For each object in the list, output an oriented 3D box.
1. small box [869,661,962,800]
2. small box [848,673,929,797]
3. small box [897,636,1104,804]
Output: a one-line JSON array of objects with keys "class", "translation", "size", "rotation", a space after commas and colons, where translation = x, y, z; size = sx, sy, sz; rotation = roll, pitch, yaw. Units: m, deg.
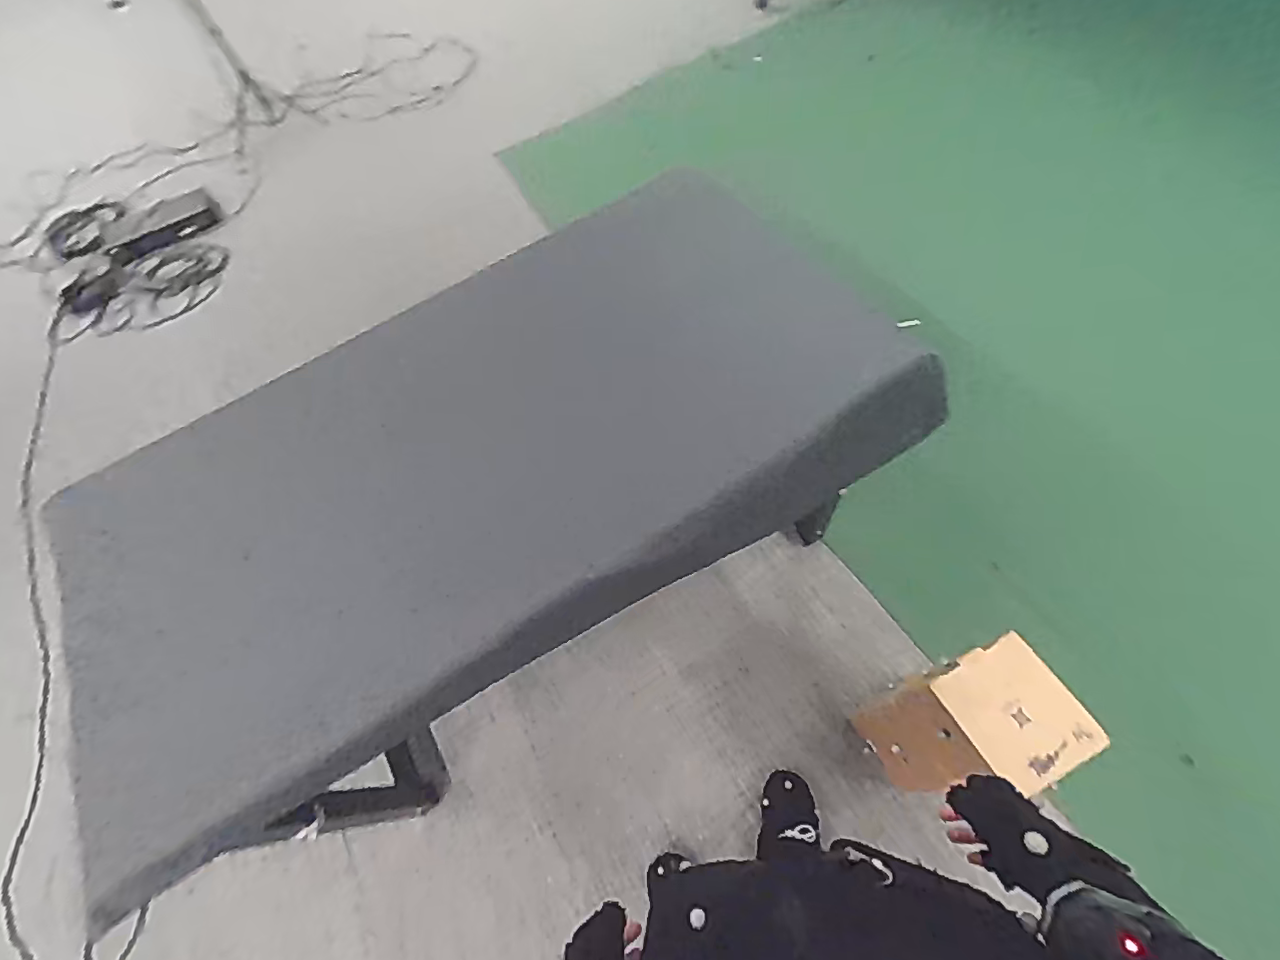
[{"class": "small box", "translation": [0.551, 0.452, 0.985], "size": [0.179, 0.176, 0.168], "rotation": [-28, 61, -7]}, {"class": "small box", "translation": [0.566, 0.531, 1.129], "size": [0.179, 0.176, 0.168], "rotation": [-30, 61, -7]}, {"class": "small box", "translation": [0.538, 0.376, 0.841], "size": [0.168, 0.176, 0.179], "rotation": [-27, 60, -7]}]
